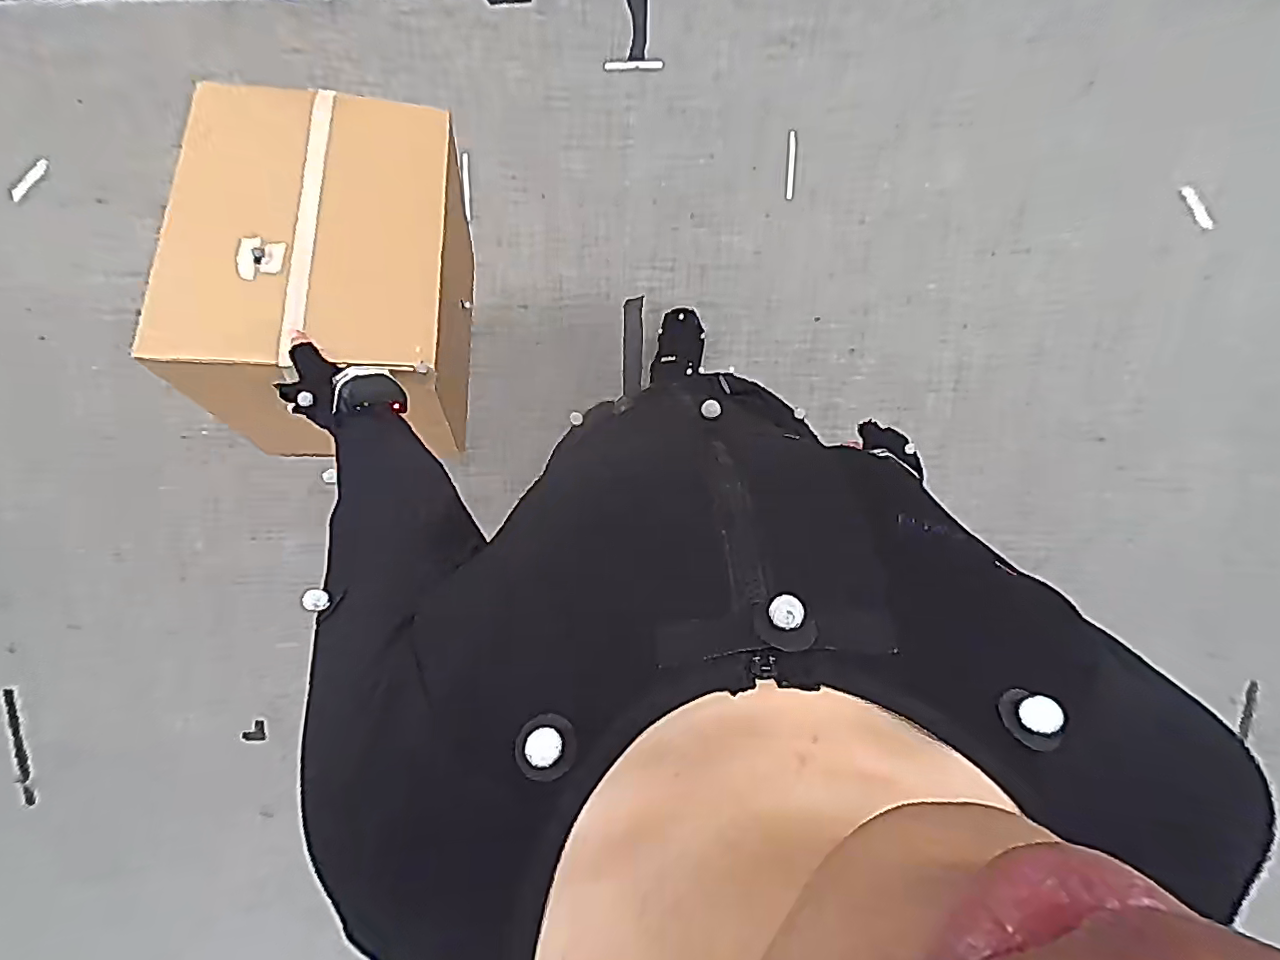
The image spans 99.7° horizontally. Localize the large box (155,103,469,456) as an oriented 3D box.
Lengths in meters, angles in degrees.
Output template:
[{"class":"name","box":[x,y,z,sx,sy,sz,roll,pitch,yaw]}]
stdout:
[{"class":"large box","box":[-0.439,-0.274,0.831,0.320,0.320,0.408,-1,73,-10]}]
